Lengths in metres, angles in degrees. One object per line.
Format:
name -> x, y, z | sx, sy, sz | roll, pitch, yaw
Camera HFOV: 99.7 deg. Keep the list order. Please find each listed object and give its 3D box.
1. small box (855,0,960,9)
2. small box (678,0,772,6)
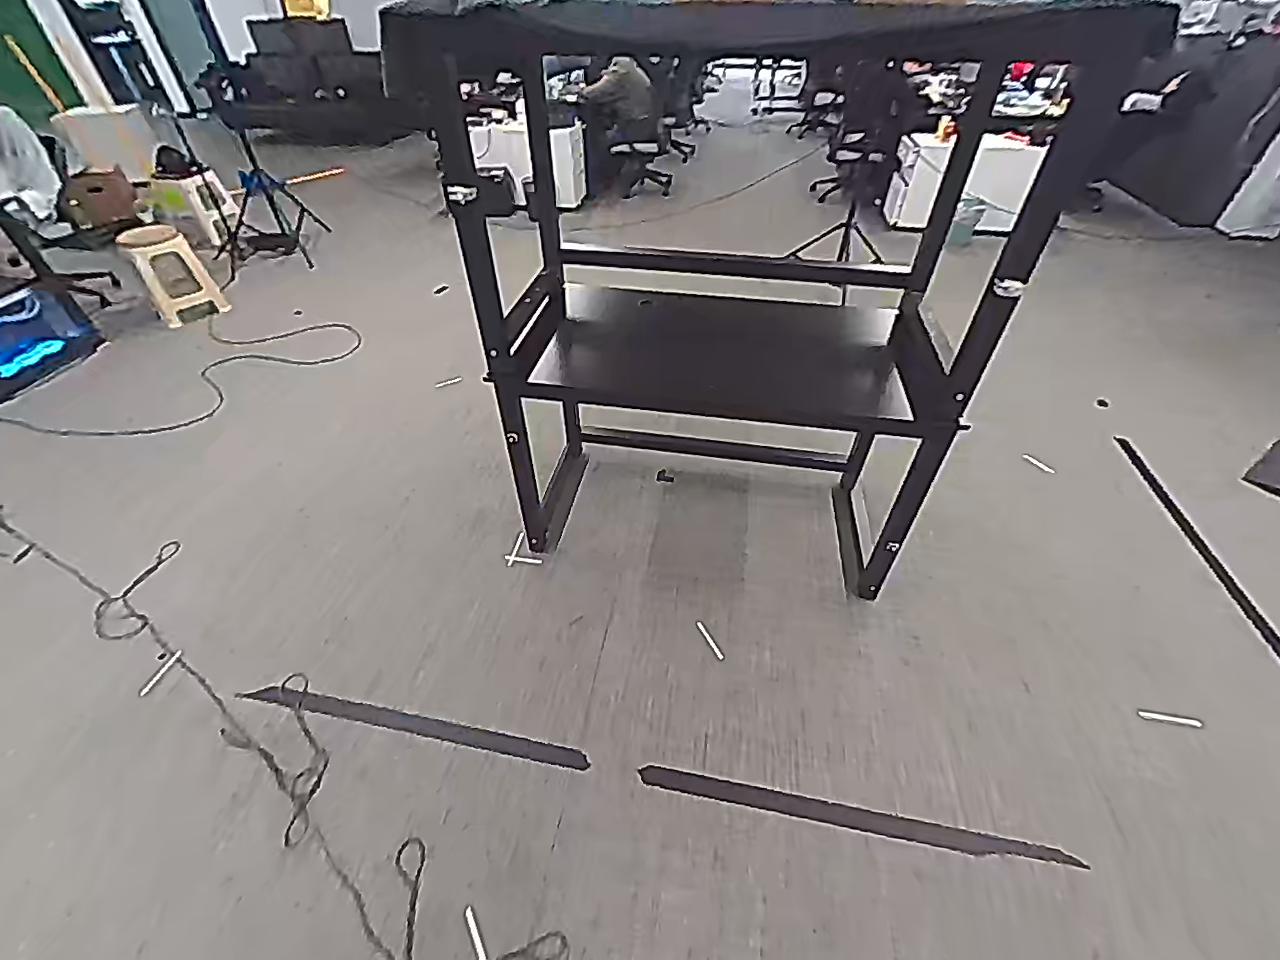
small box -> 0.446, -0.863, 0.855 | 0.168, 0.176, 0.179 | 10, 42, 11
small box -> 0.150, -0.899, 0.893 | 0.168, 0.176, 0.179 | 7, 41, 8
